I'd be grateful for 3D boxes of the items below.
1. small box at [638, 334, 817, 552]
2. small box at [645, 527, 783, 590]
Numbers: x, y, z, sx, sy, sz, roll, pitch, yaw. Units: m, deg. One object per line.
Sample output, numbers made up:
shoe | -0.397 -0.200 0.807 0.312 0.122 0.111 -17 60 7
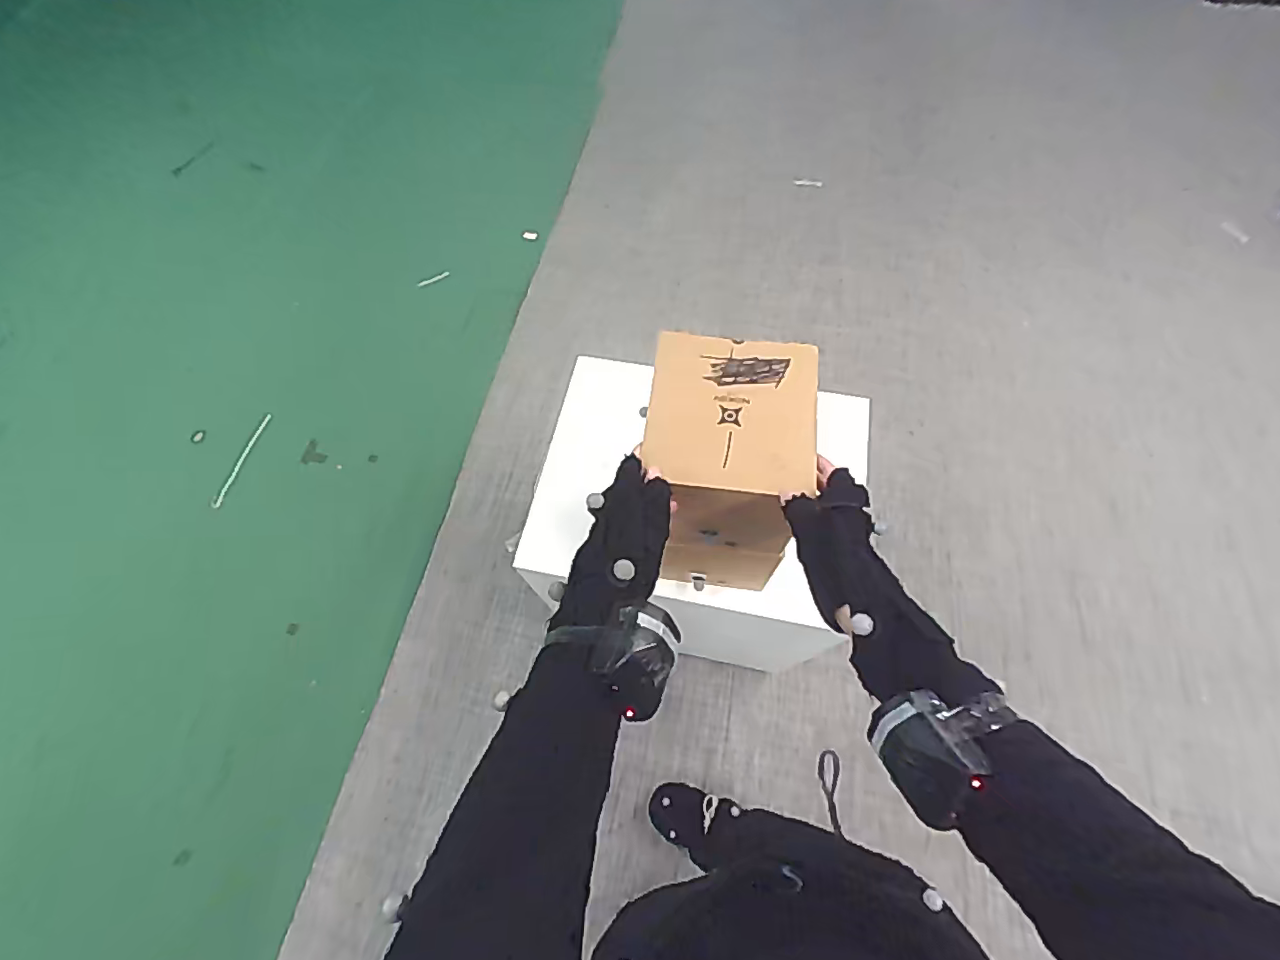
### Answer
small box | 0.089 -0.035 0.597 0.168 0.176 0.179 3 64 5
small box | 0.102 0.039 0.743 0.168 0.176 0.179 5 66 7
